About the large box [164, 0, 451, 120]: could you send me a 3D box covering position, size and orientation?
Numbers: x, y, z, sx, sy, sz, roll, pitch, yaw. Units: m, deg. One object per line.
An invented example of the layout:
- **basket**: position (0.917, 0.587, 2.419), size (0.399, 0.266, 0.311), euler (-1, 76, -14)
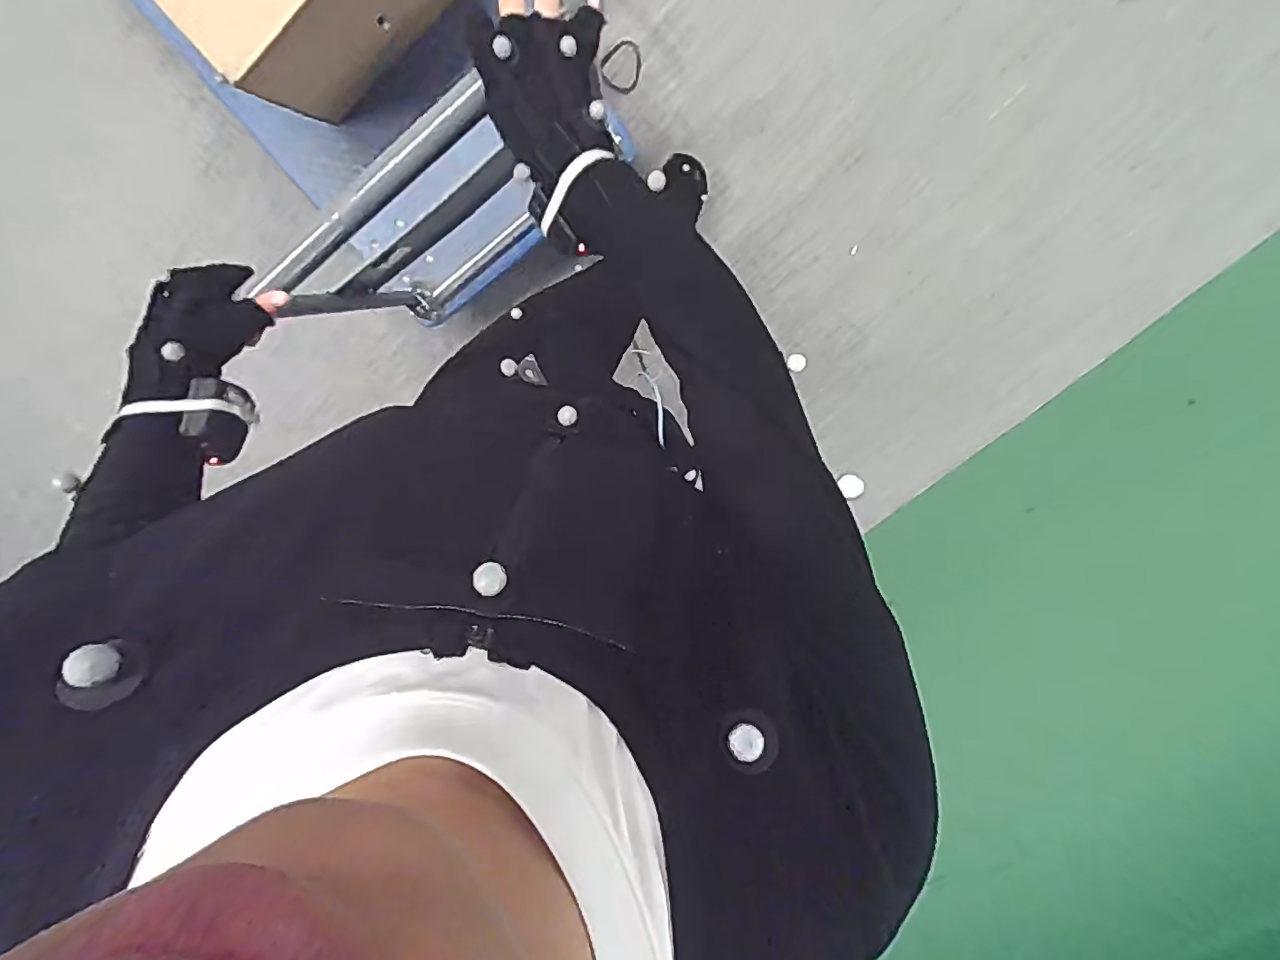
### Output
- **large box**: position (-0.491, -0.827, 0.782), size (0.408, 0.320, 0.320), euler (-36, 110, 14)
